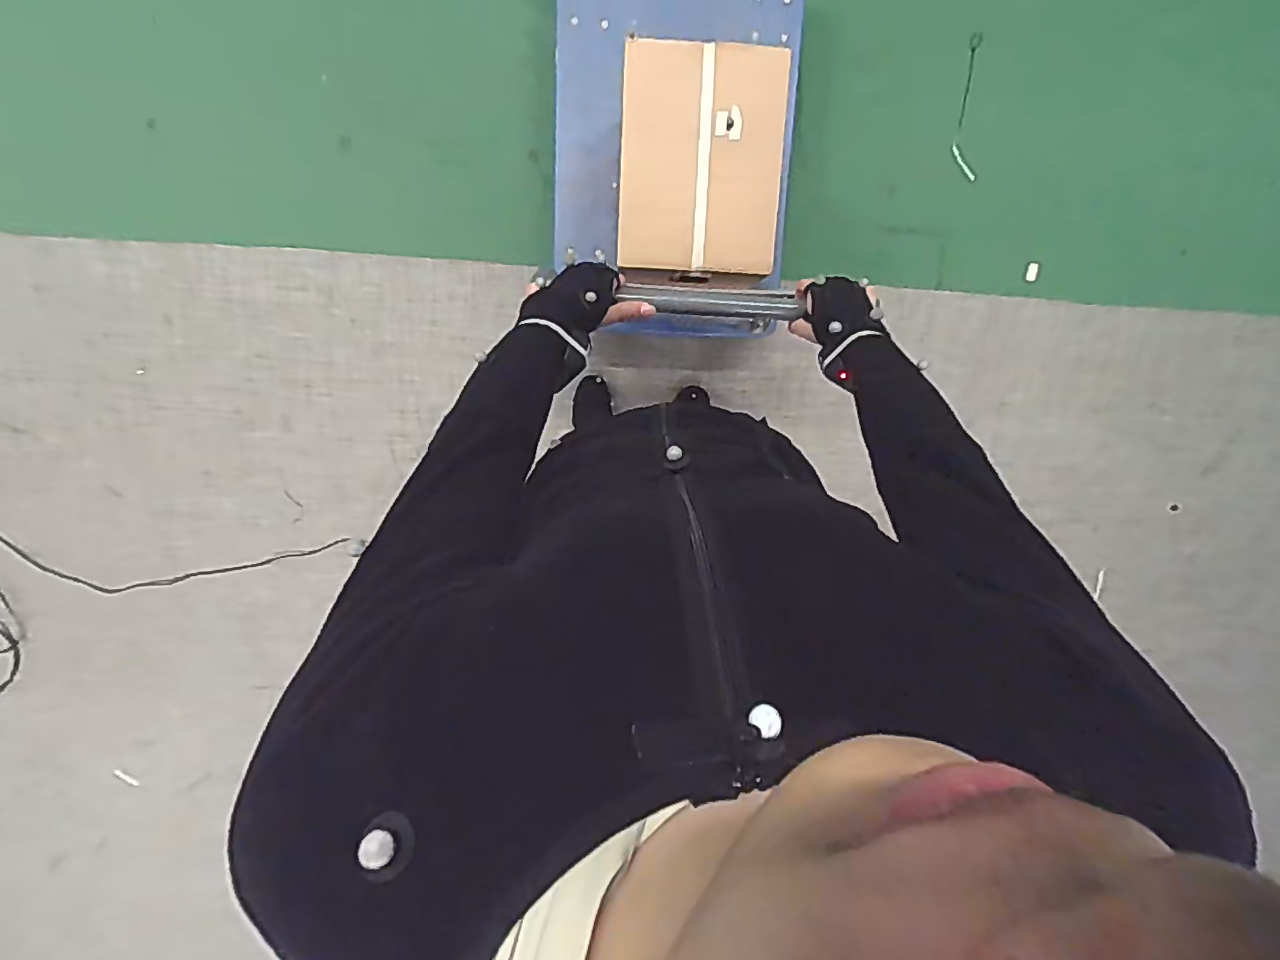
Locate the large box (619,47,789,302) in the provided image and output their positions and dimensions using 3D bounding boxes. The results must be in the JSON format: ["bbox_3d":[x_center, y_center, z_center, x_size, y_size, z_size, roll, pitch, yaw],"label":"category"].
[{"bbox_3d":[0.115,-0.620,1.178,0.320,0.320,0.408,2,99,-4],"label":"large box"}]
